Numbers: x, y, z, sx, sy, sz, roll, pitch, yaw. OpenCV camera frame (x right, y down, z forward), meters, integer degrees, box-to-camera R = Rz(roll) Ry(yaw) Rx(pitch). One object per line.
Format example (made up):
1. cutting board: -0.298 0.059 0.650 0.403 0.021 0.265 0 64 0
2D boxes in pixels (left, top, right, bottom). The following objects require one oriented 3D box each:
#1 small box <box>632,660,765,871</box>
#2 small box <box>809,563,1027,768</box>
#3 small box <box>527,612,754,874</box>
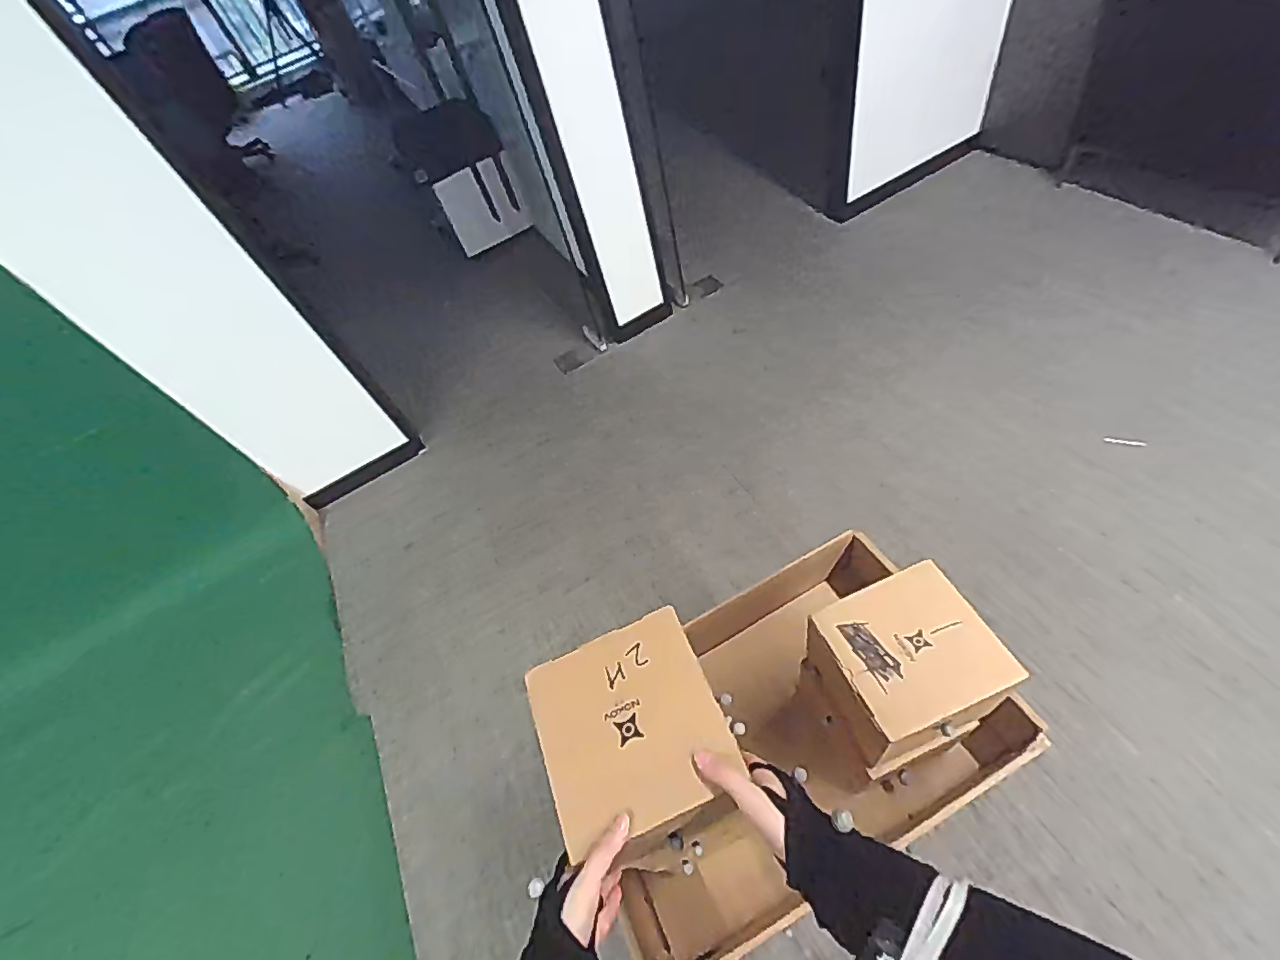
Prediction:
1. small box: 0.045 0.365 0.687 0.168 0.176 0.179 -25 51 -3
2. small box: 0.337 0.243 0.694 0.179 0.176 0.168 -24 51 -3
3. small box: 0.006 0.272 0.557 0.168 0.176 0.179 -24 51 -3
